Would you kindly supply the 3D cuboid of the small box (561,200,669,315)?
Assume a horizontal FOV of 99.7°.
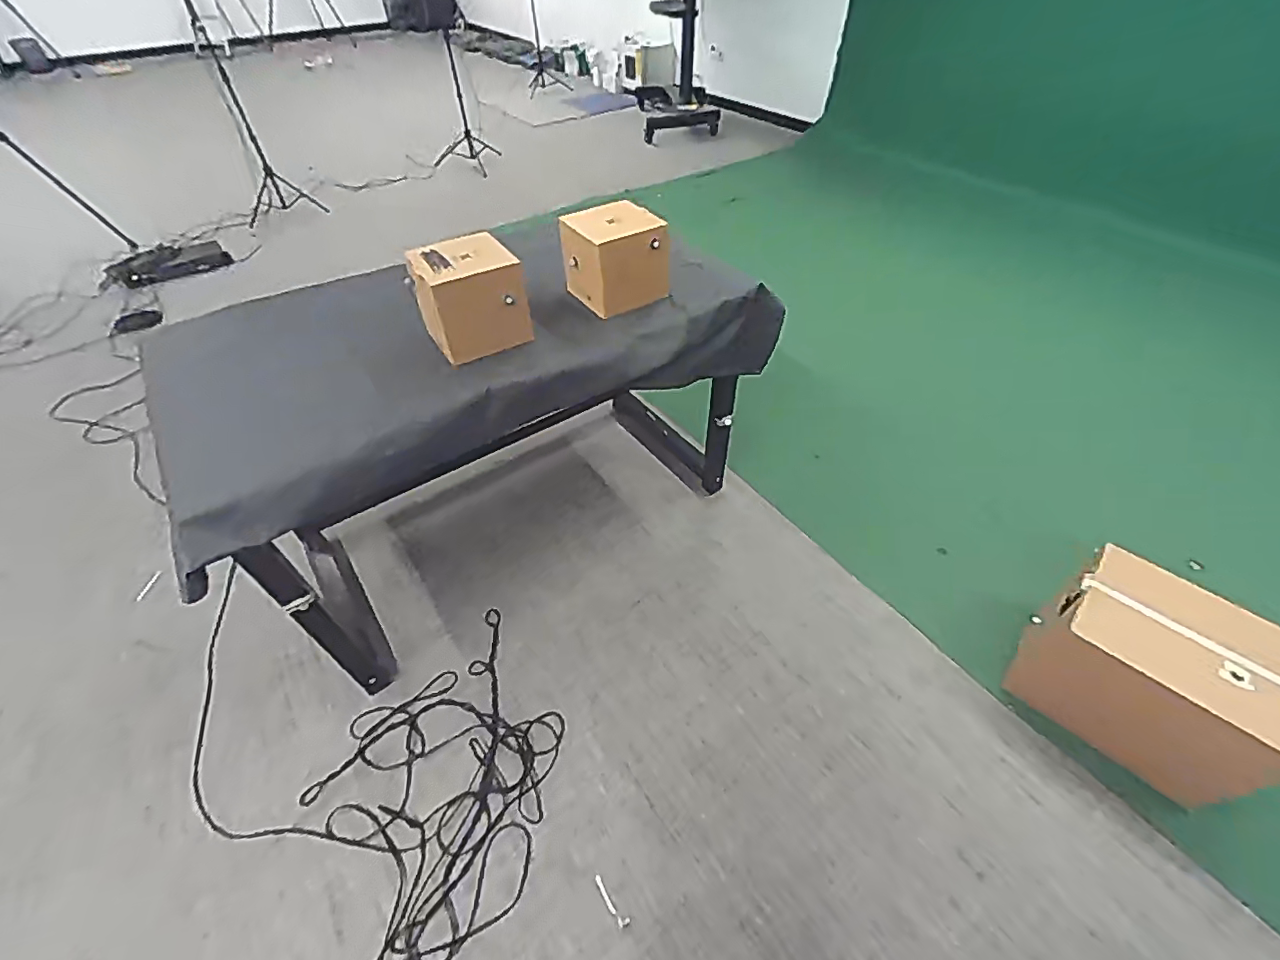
[{"bbox_3d":[-0.051,-0.485,1.182,0.179,0.176,0.168,-26,52,-22],"label":"small box"}]
